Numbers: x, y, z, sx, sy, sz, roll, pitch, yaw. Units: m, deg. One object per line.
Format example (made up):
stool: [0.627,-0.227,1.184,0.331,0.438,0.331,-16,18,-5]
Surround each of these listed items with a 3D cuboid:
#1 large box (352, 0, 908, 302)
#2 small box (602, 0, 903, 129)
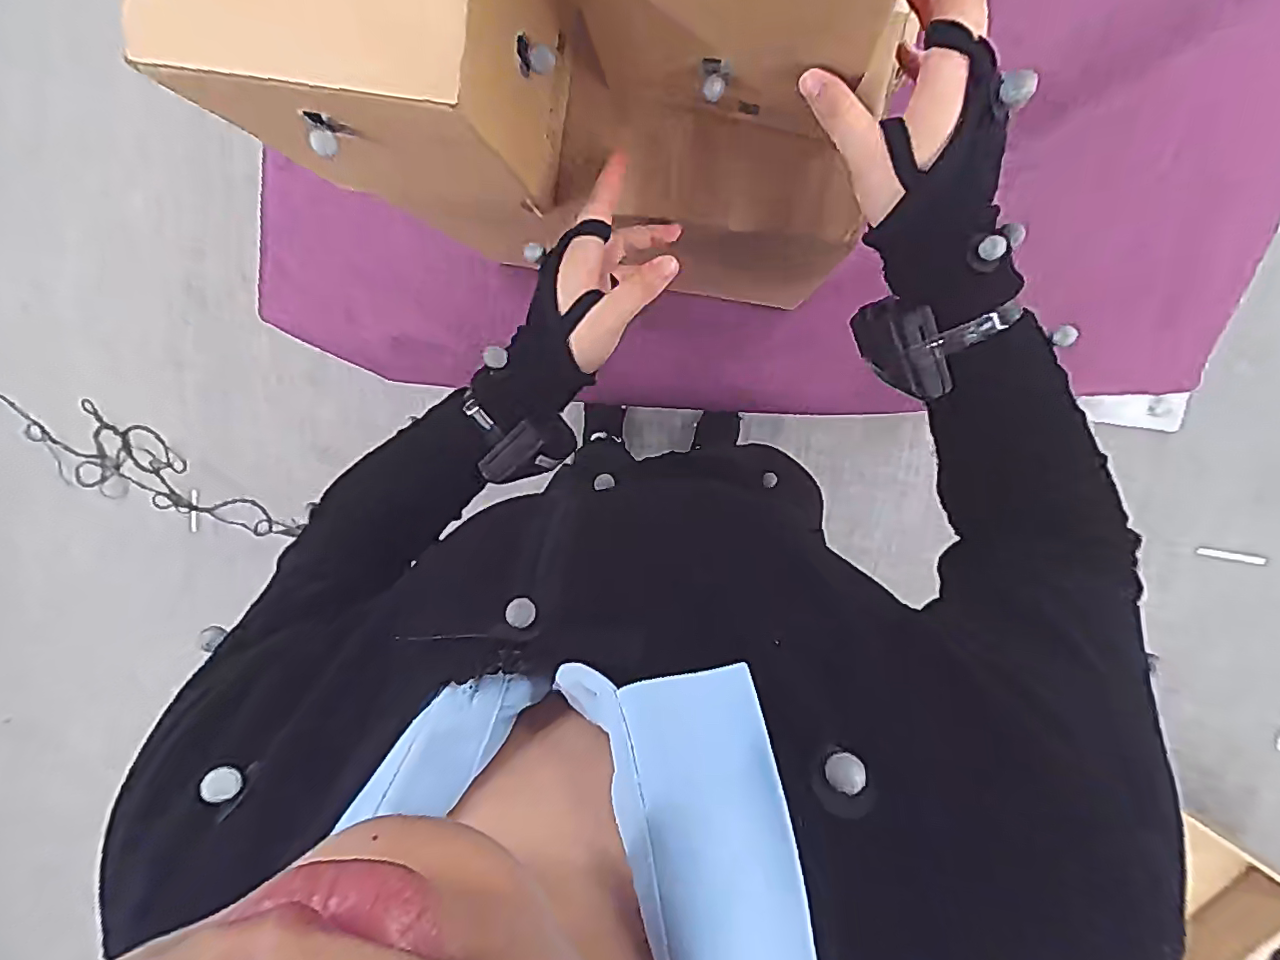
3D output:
large box: [0.008,-0.374,0.527,0.408,0.320,0.320,10,99,7]
small box: [0.070,-0.326,0.275,0.168,0.176,0.179,17,101,6]
